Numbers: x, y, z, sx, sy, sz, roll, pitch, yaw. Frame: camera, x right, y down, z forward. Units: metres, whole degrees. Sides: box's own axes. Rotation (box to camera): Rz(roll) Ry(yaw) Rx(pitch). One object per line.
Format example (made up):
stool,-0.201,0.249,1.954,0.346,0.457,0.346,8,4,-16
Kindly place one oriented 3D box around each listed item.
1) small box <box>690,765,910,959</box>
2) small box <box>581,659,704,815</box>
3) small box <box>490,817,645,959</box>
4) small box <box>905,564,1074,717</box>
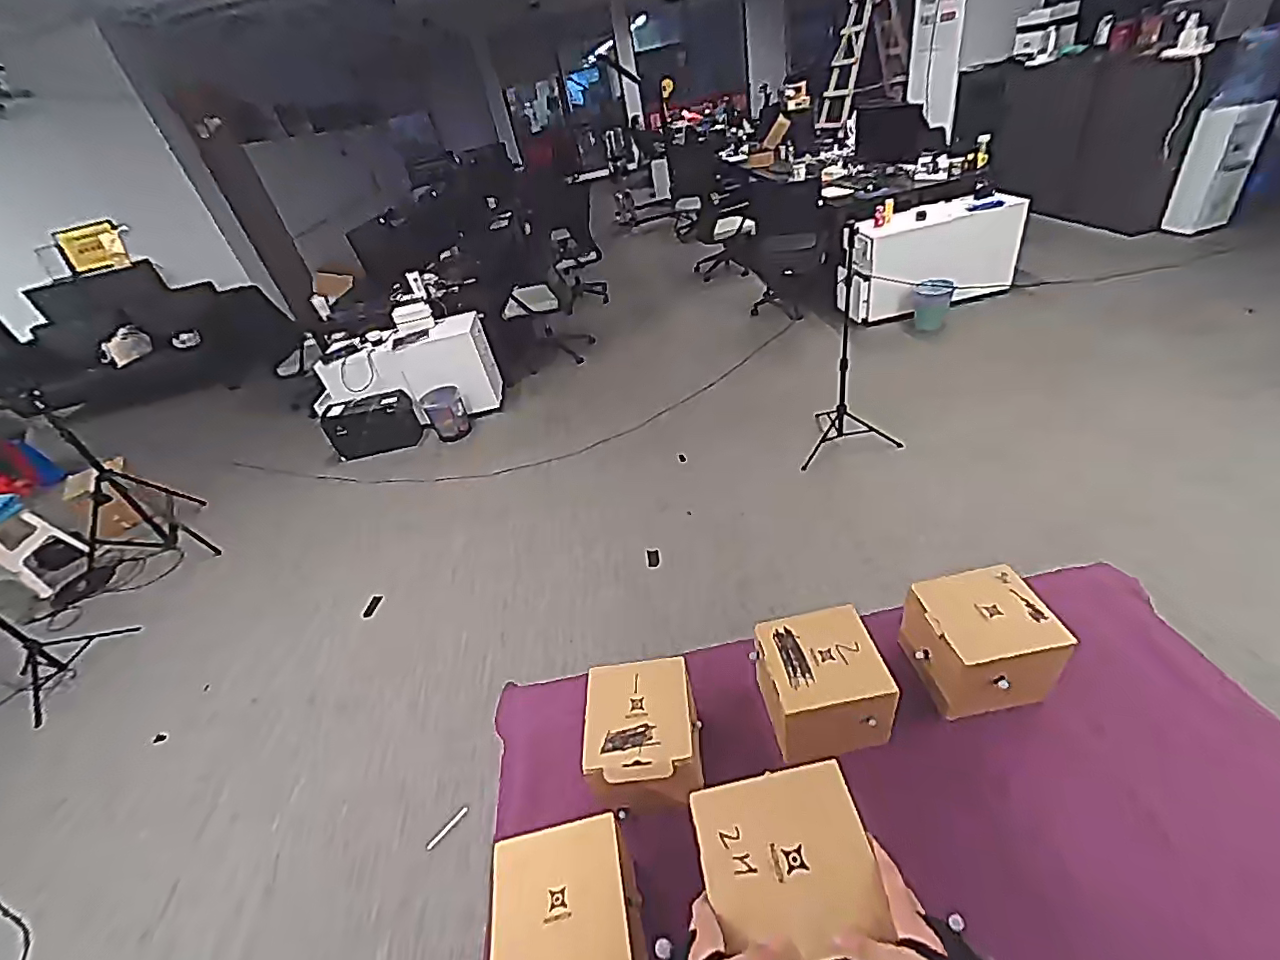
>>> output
small box,0.166,0.448,0.602,0.179,0.176,0.168,-15,42,2
small box,0.008,0.424,0.885,0.168,0.176,0.179,-9,36,5
small box,-0.088,0.582,0.700,0.168,0.176,0.179,-13,37,-4
small box,0.567,0.273,0.910,0.179,0.176,0.168,-13,38,2
